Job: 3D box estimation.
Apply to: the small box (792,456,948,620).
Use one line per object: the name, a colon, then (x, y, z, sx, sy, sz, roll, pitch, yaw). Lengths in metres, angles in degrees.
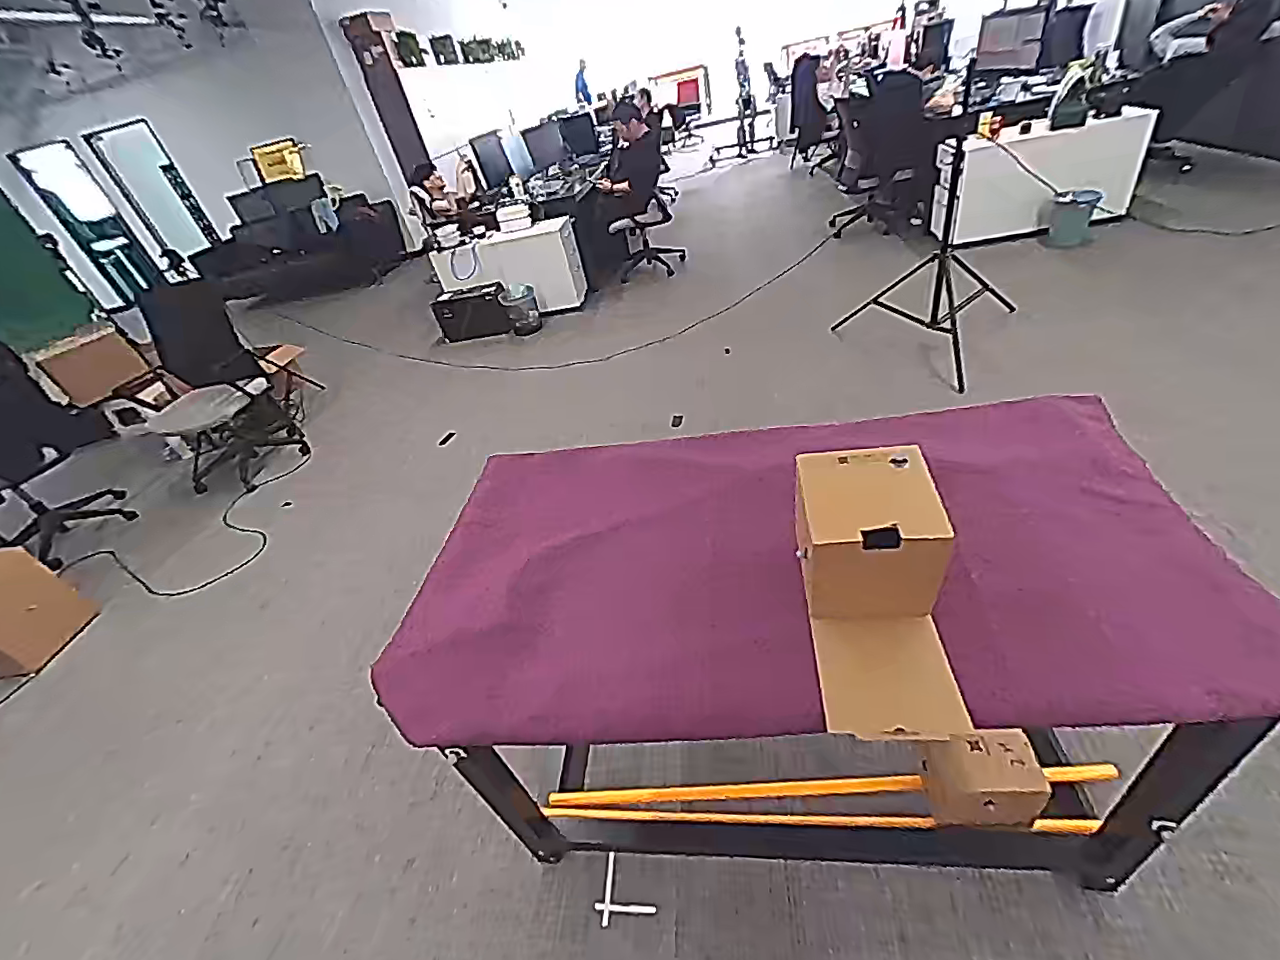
small box: (0.309, 0.079, 0.769, 0.168, 0.179, 0.176, -4, 45, 11)

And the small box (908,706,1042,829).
small box: (0.647, 0.572, 1.073, 0.179, 0.176, 0.168, -7, 38, 11)
